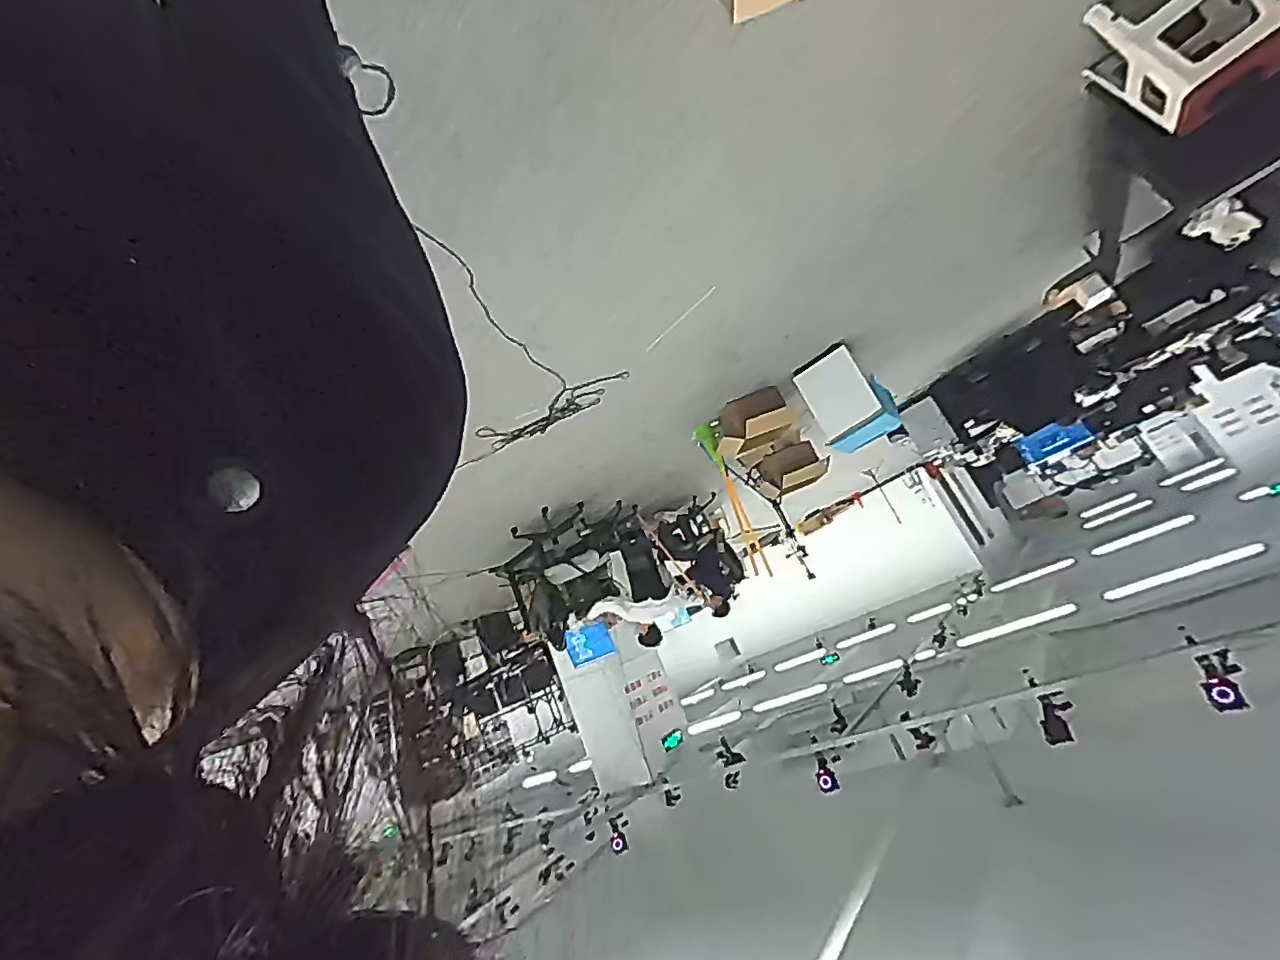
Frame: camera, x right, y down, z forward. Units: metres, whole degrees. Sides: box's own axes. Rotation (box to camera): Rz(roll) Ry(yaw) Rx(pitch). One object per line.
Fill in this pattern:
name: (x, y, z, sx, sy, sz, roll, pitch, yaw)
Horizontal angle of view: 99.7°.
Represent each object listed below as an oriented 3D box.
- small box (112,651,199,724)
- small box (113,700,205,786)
small box: (-1.520, 0.650, 1.690, 0.179, 0.176, 0.168, -36, 159, 30)
small box: (-1.456, 0.789, 1.636, 0.168, 0.176, 0.179, -37, 159, 33)
